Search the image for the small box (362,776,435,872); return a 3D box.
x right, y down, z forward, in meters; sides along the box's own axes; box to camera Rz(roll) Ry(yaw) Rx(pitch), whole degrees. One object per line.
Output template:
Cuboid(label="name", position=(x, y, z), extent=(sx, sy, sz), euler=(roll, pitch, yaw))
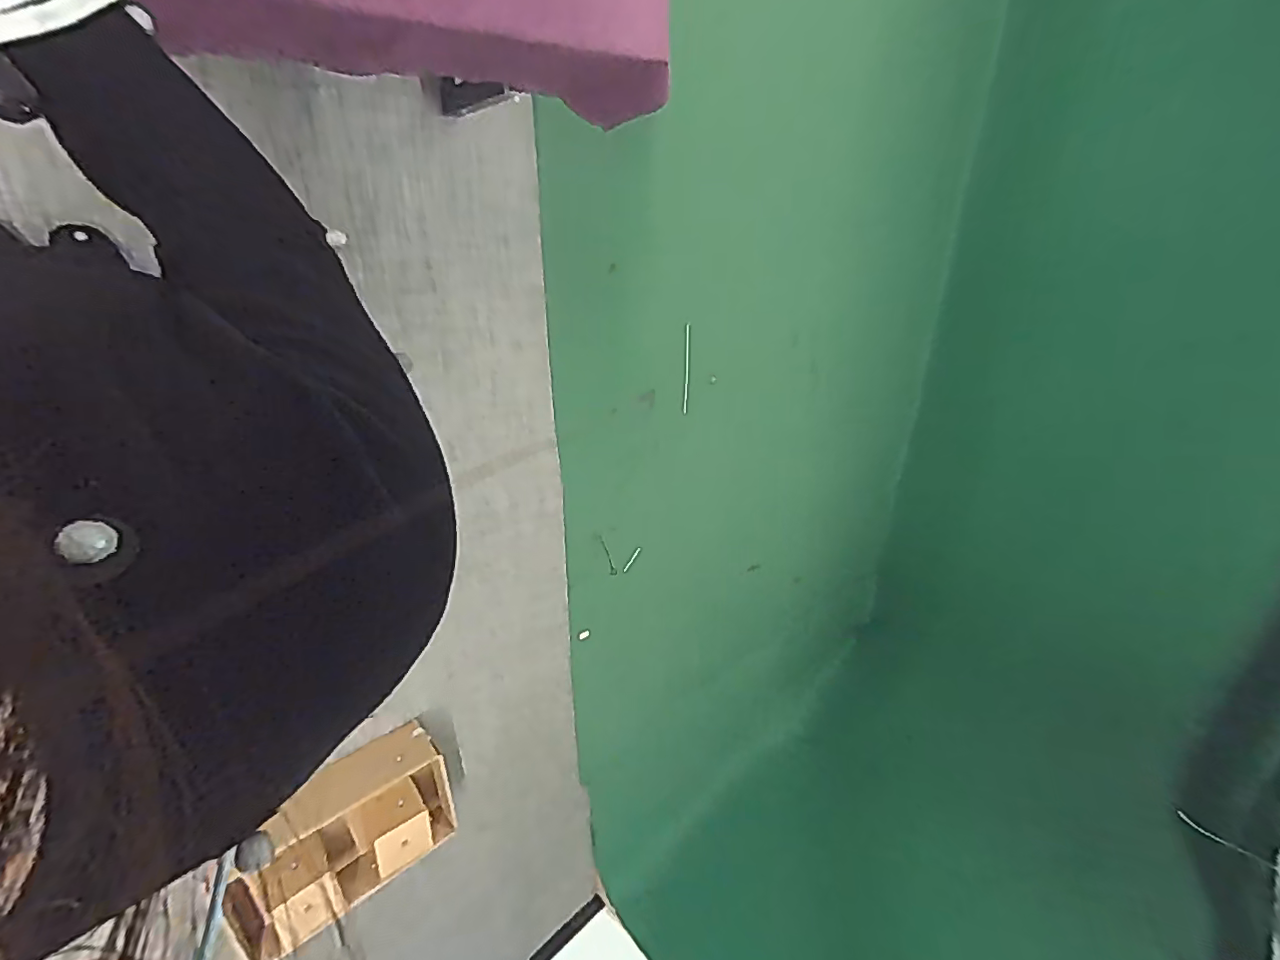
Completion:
Cuboid(label="small box", position=(-0.794, 1.114, 1.774), extent=(0.168, 0.176, 0.179), euler=(-16, 119, -38))

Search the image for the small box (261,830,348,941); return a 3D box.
Cuboid(label="small box", position=(-0.997, 1.190, 1.606), extent=(0.168, 0.176, 0.179), euler=(-21, 121, -37))
